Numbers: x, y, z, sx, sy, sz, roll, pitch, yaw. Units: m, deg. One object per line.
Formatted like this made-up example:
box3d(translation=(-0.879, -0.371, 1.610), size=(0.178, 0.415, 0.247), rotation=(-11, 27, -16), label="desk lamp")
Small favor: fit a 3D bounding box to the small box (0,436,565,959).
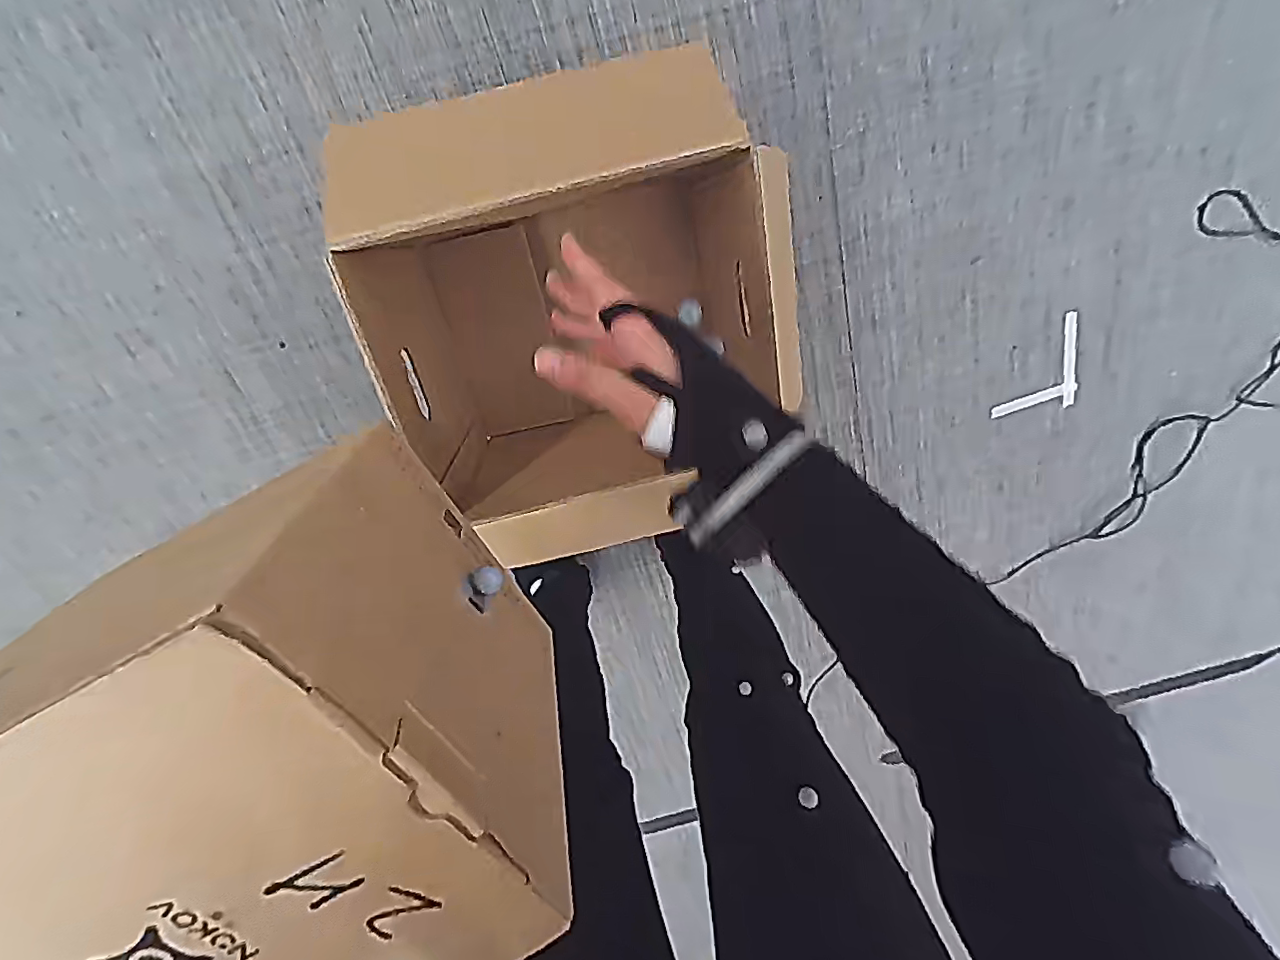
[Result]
box3d(translation=(-0.151, 0.106, 0.240), size=(0.179, 0.176, 0.168), rotation=(-30, 115, 0), label="small box")
